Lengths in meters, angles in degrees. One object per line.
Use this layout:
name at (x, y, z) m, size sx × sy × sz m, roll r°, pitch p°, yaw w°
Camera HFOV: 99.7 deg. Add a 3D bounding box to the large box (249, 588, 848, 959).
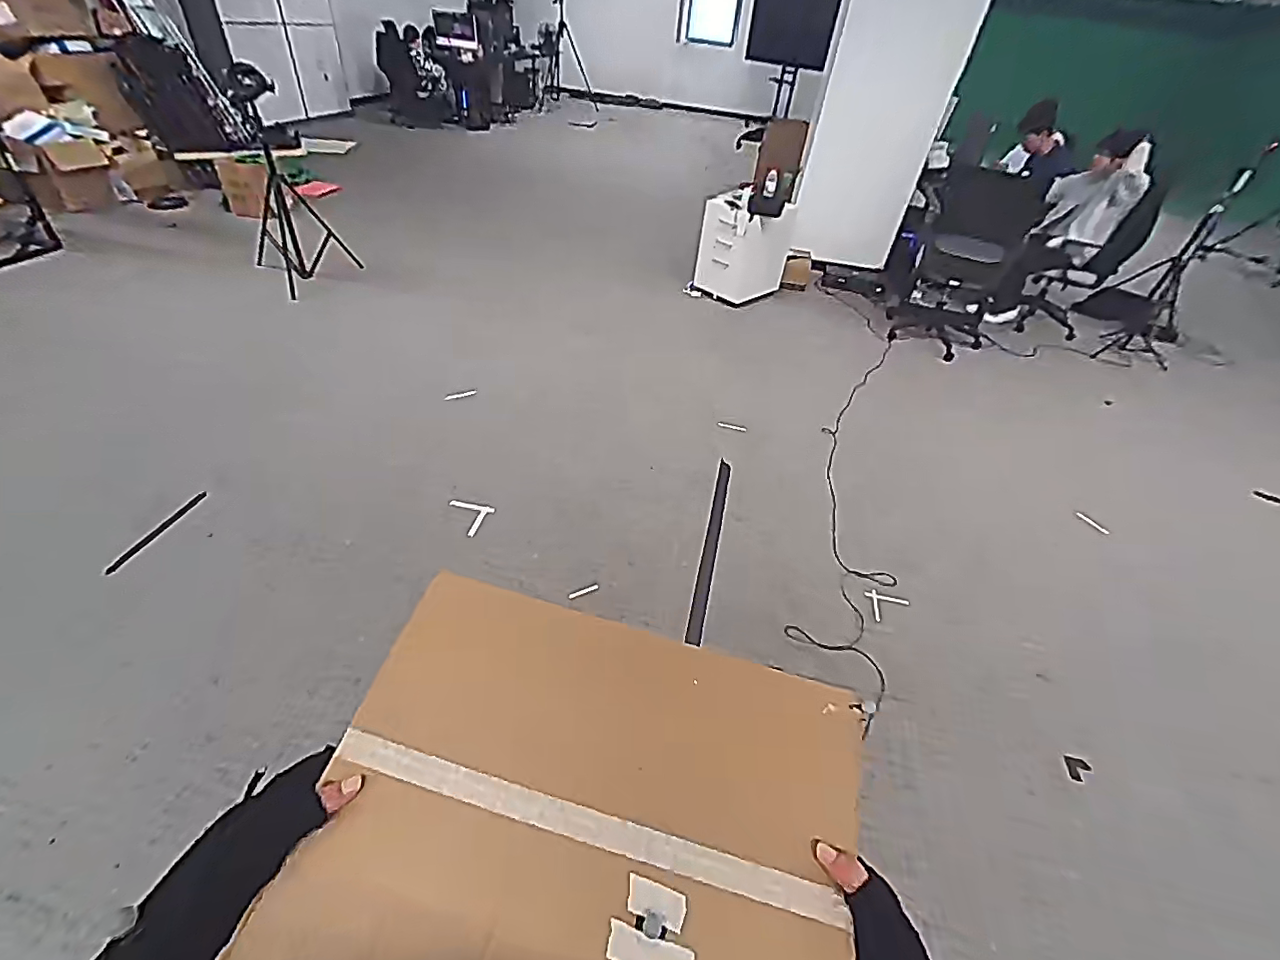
large box at (-0.051, 0.354, 0.543) m, size 0.408 × 0.320 × 0.320 m, roll 15°, pitch 55°, yaw 6°
